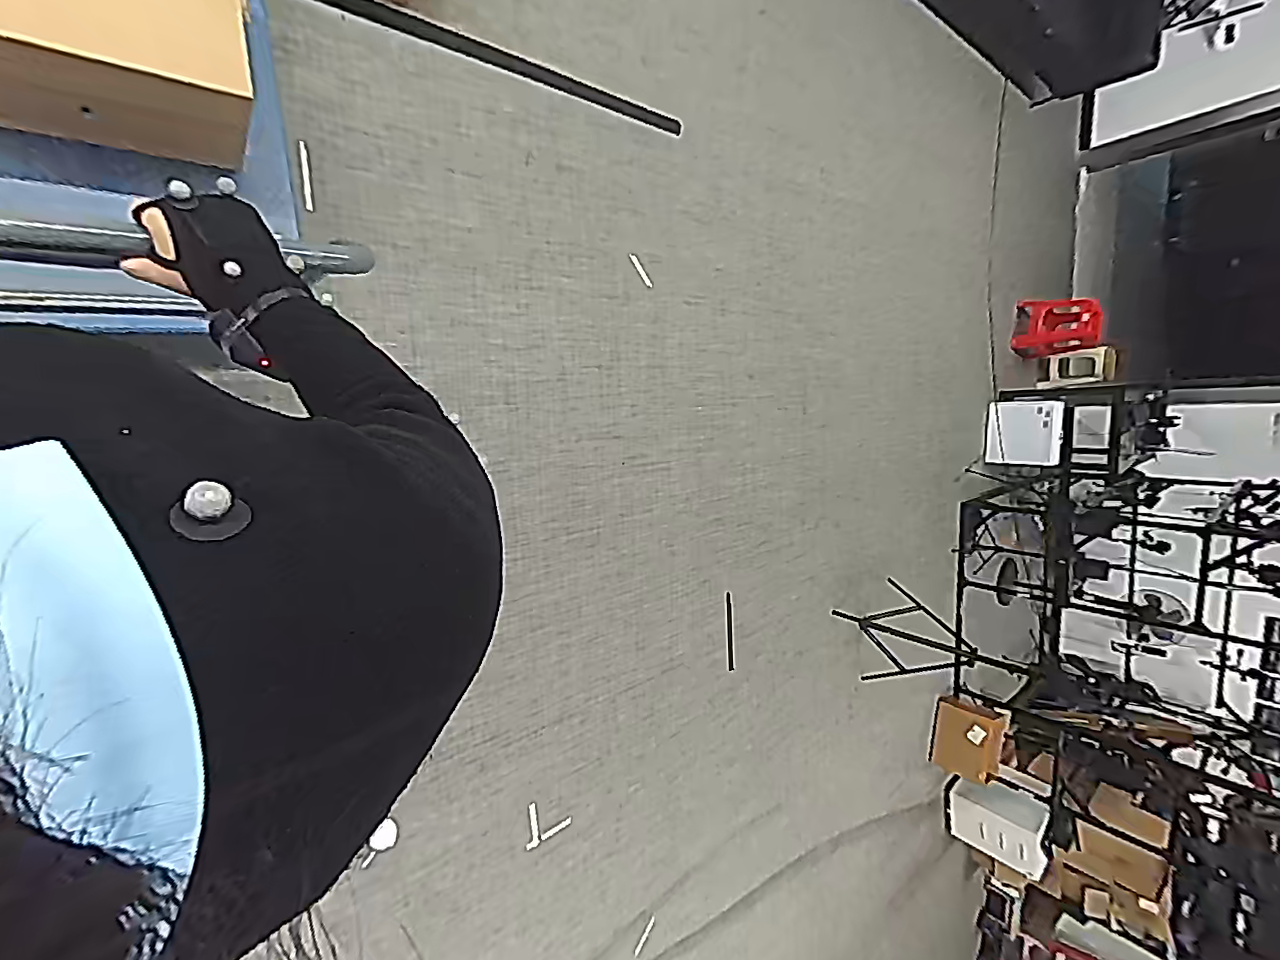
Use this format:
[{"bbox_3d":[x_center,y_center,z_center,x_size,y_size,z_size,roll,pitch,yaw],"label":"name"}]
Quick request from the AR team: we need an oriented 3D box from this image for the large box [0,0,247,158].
[{"bbox_3d":[-0.853,-0.724,0.793,0.408,0.320,0.320,-10,101,-38],"label":"large box"}]
